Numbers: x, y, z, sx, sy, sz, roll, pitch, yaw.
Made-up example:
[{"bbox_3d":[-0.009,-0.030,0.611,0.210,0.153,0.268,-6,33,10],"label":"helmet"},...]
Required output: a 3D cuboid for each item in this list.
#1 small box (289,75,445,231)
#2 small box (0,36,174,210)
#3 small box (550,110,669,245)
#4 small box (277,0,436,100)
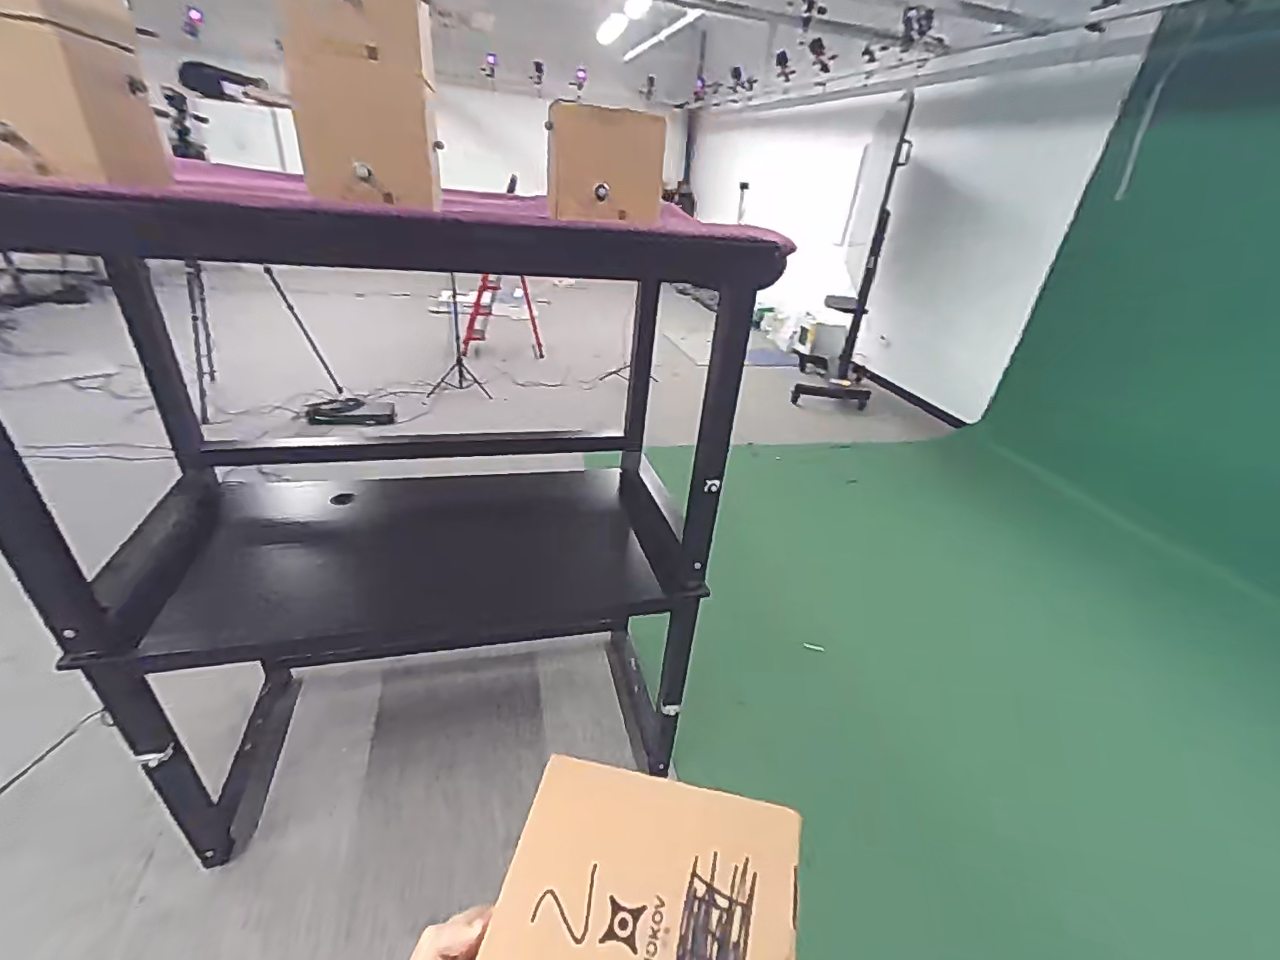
[{"bbox_3d":[-0.387,-0.476,0.801,0.168,0.176,0.179,-3,32,-14],"label":"small box"},{"bbox_3d":[-0.742,-0.449,0.688,0.168,0.176,0.179,-3,30,-15],"label":"small box"},{"bbox_3d":[-0.061,-0.496,0.892,0.168,0.176,0.179,-2,32,-13],"label":"small box"},{"bbox_3d":[-0.374,-0.623,0.729,0.168,0.176,0.179,-3,32,-14],"label":"small box"}]
